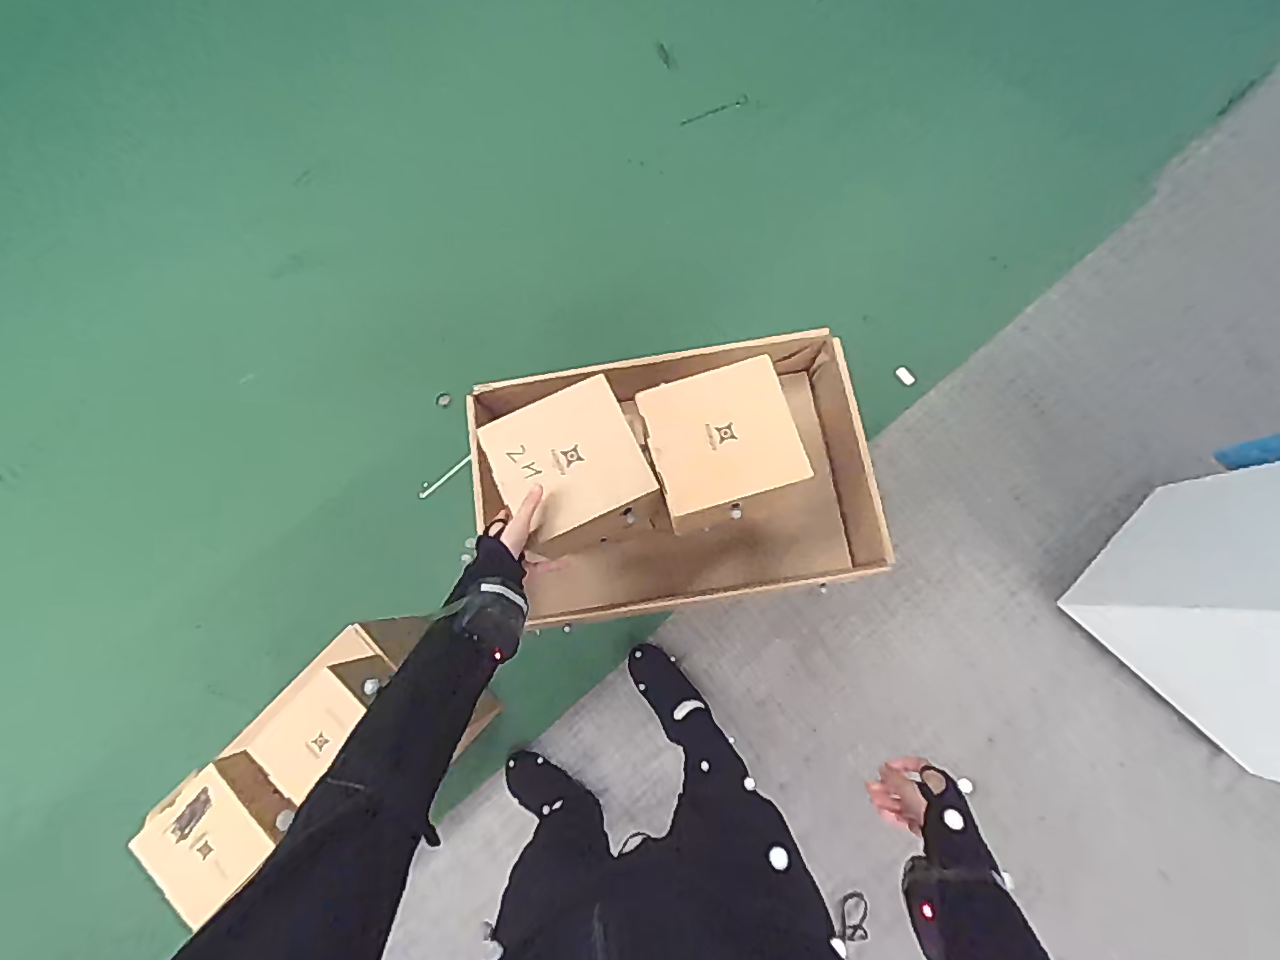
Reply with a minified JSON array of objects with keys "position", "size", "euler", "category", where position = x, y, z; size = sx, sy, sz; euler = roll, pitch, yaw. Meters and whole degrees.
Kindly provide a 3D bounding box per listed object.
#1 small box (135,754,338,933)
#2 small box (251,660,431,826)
[{"position":[-0.664,0.582,0.910],"size":[0.179,0.176,0.168],"euler":[42,83,11],"category":"small box"},{"position":[-0.501,0.438,0.935],"size":[0.168,0.176,0.179],"euler":[42,82,9],"category":"small box"}]
